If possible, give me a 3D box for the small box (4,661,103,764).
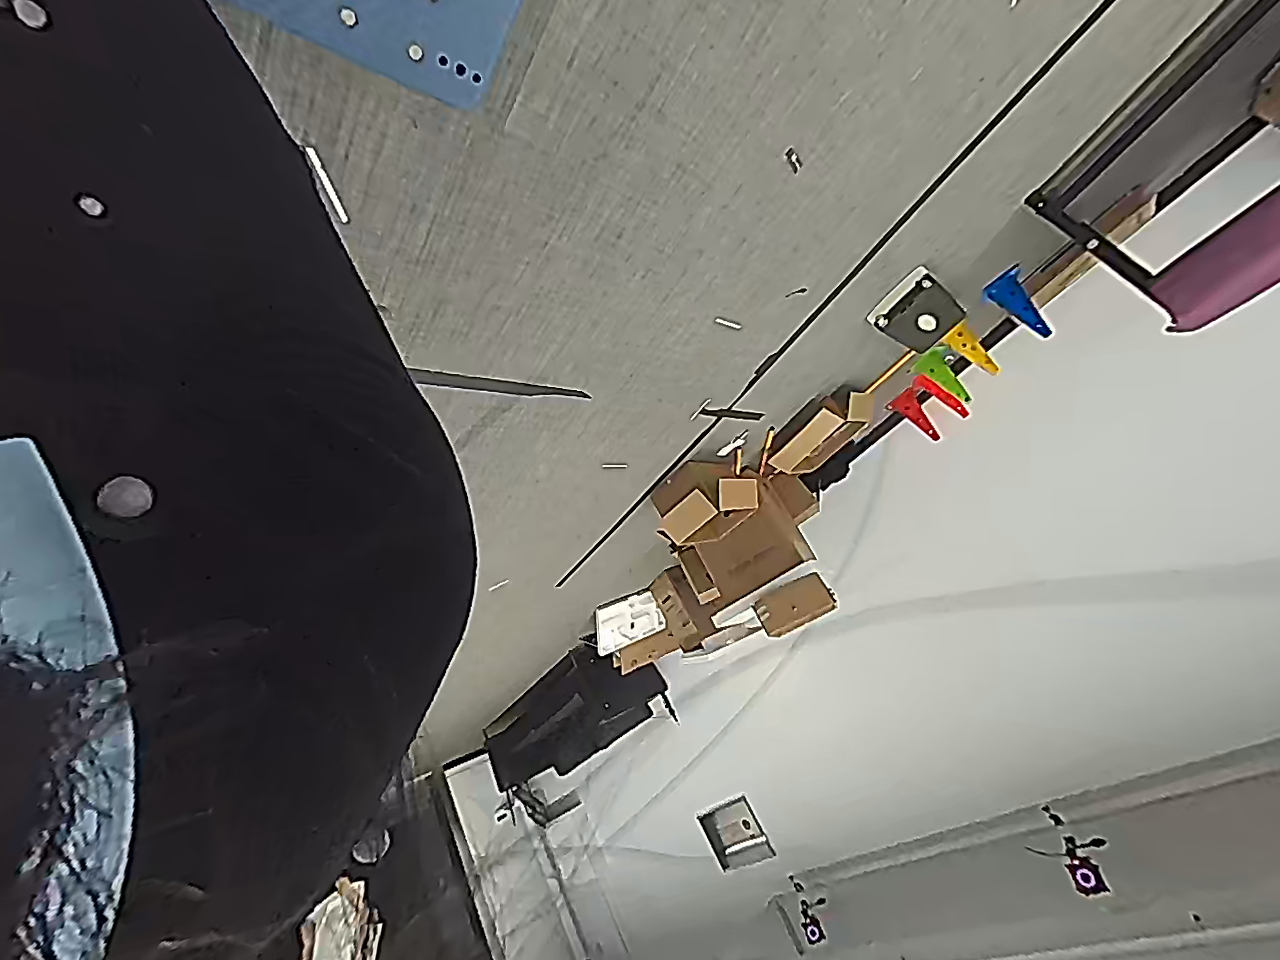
[{"bbox_3d":[-1.515,0.594,1.397,0.168,0.176,0.179,-3,144,-48],"label":"small box"}]

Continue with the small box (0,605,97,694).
[{"bbox_3d":[-1.593,0.462,1.452,0.168,0.176,0.179,-13,151,-38],"label":"small box"}]
